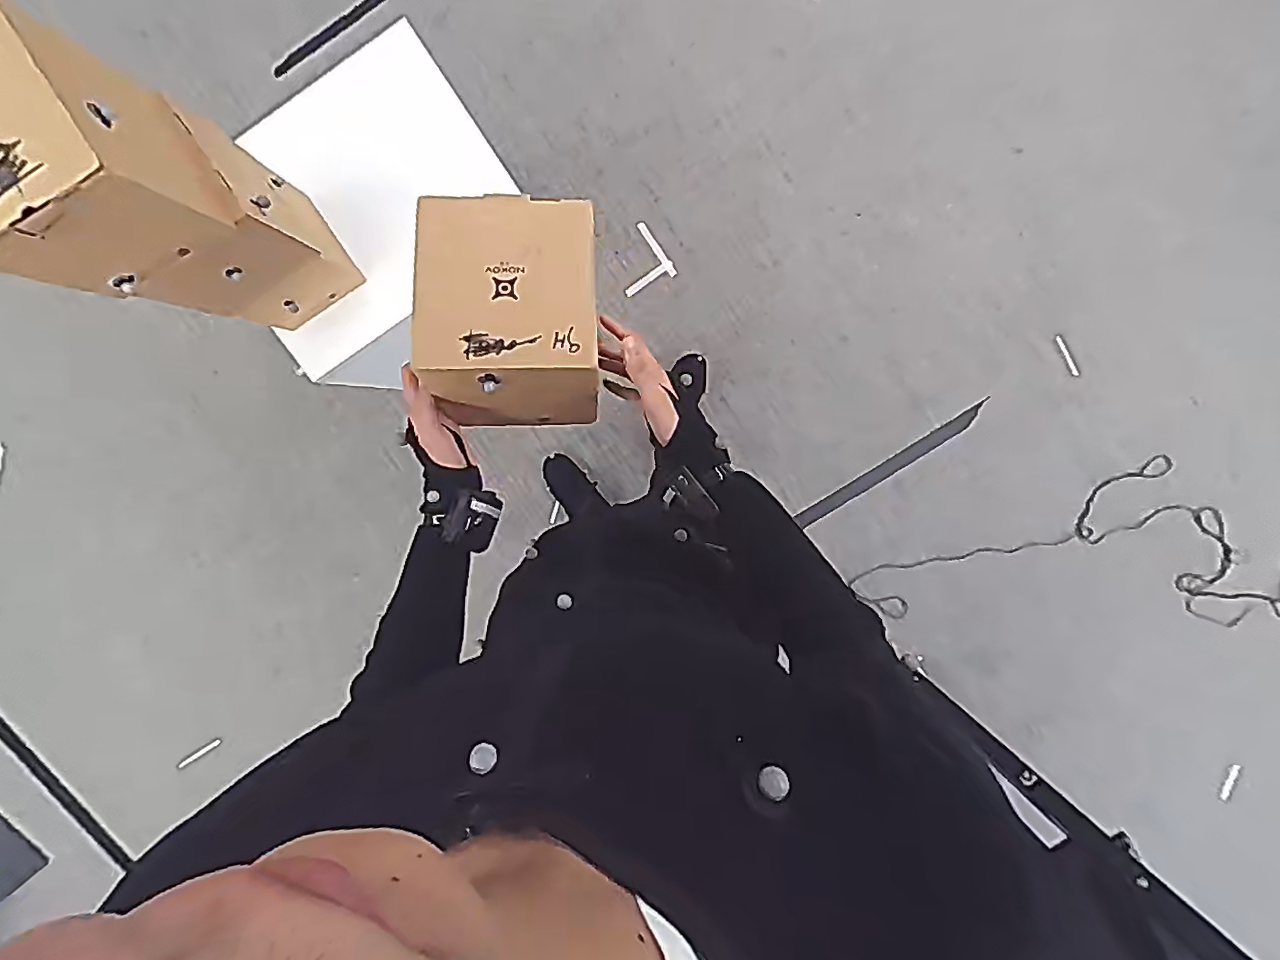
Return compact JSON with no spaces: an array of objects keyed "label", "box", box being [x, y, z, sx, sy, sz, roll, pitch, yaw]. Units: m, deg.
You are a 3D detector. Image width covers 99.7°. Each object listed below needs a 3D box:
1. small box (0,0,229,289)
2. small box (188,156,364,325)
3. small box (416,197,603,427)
[{"label":"small box","box":[-0.582,-0.316,0.551,0.168,0.176,0.179,-30,97,2]},{"label":"small box","box":[-0.592,-0.369,0.875,0.168,0.176,0.179,-33,98,2]},{"label":"small box","box":[-0.128,-0.165,0.574,0.168,0.176,0.179,-2,78,-7]}]
